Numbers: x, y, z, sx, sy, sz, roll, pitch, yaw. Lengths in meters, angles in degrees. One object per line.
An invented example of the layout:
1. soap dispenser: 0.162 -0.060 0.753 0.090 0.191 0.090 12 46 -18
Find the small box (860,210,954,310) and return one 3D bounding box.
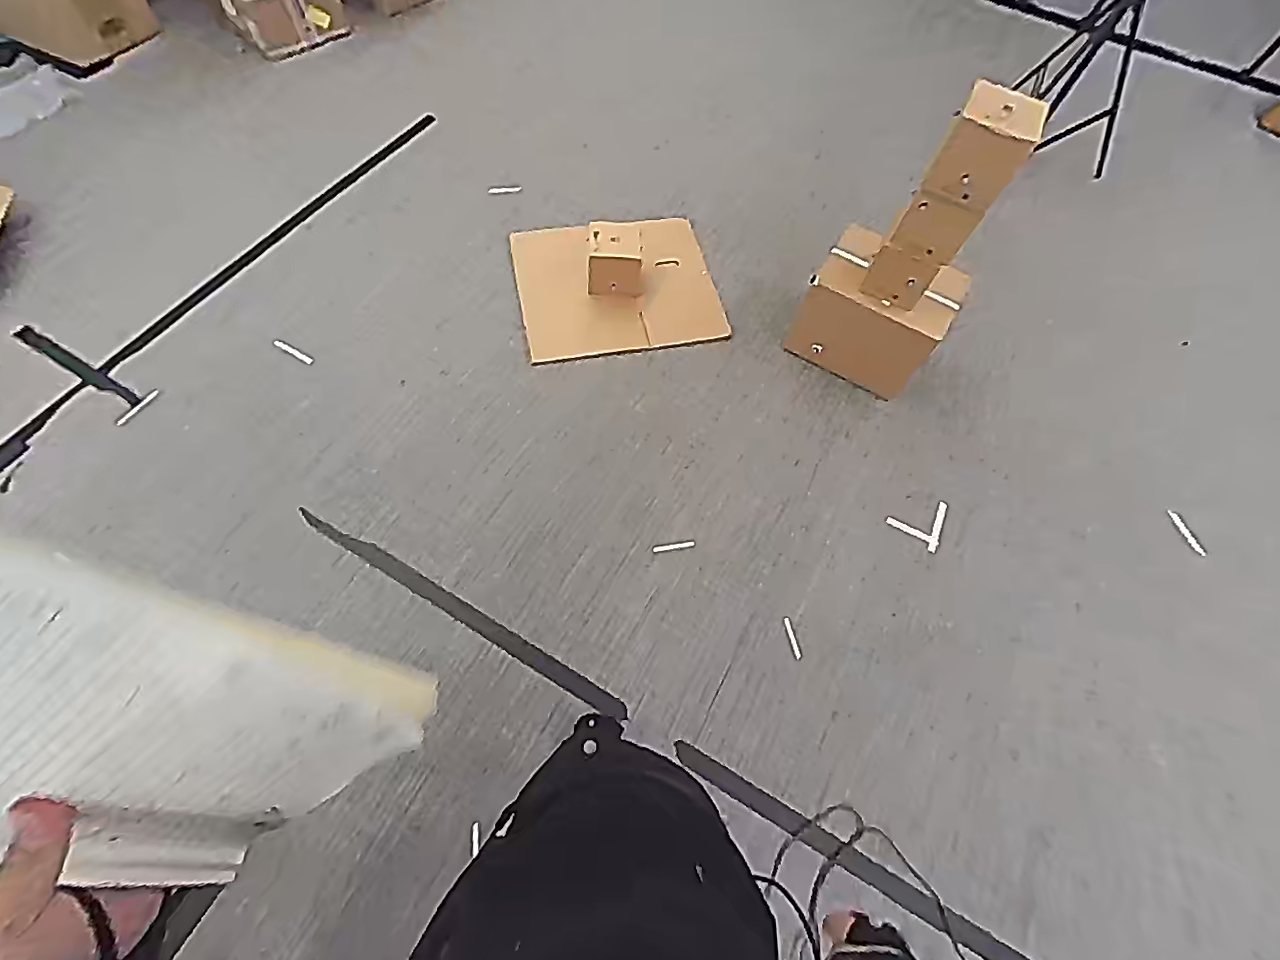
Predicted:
1. small box: 0.752 -0.620 1.537 0.168 0.176 0.179 26 64 7

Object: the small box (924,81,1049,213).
1. small box: 0.786 -0.759 1.241 0.168 0.176 0.179 27 65 9

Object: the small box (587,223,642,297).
1. small box: -0.091 -0.754 1.865 0.179 0.176 0.168 2 63 -7
